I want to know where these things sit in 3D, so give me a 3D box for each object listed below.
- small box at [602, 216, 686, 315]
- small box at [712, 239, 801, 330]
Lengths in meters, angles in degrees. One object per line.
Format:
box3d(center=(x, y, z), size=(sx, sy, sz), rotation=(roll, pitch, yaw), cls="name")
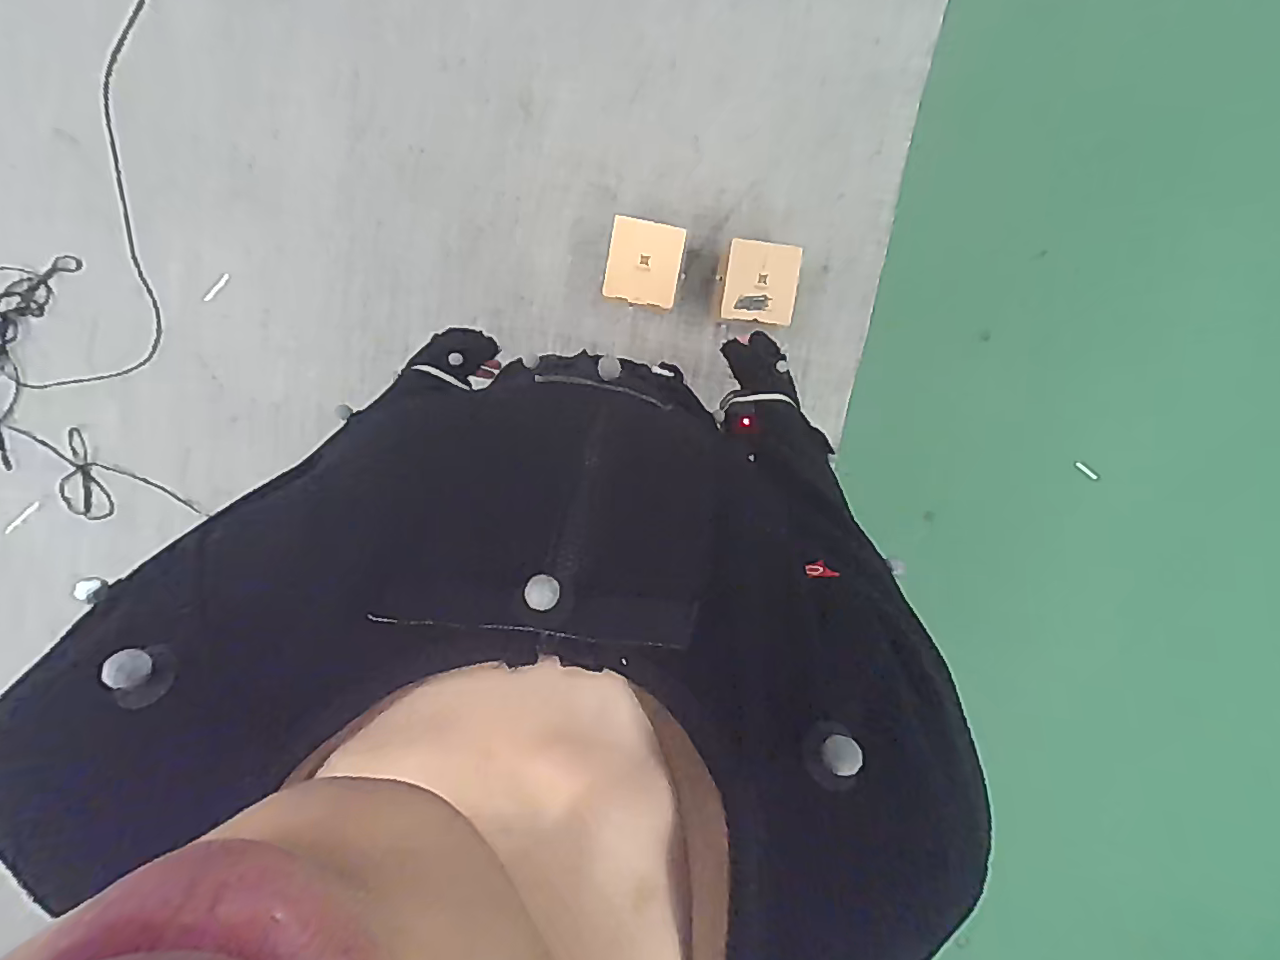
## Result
box3d(center=(0.006, -0.504, 1.292), size=(0.168, 0.176, 0.179), rotation=(10, 103, -3), cls="small box")
box3d(center=(0.271, -0.462, 1.302), size=(0.168, 0.176, 0.179), rotation=(7, 102, -2), cls="small box")
